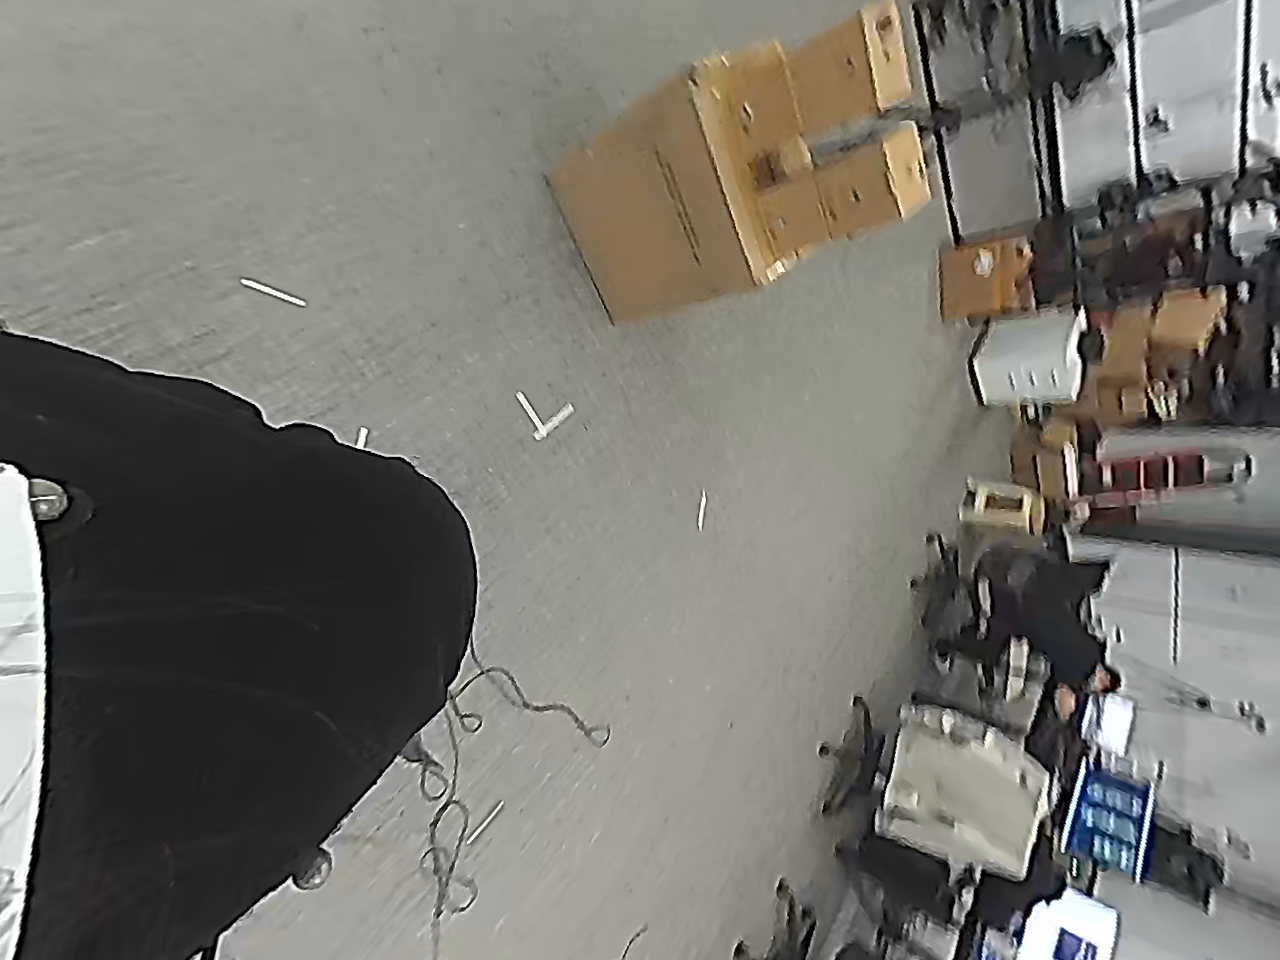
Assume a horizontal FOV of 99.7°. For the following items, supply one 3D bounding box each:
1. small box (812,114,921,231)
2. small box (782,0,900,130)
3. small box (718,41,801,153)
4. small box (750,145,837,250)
[{"bbox_3d":[0.521,-0.708,1.262,0.179,0.176,0.168,-42,117,-30],"label":"small box"},{"bbox_3d":[0.432,-0.902,1.171,0.168,0.176,0.179,-43,121,-29],"label":"small box"},{"bbox_3d":[0.318,-0.917,1.288,0.179,0.176,0.168,-43,119,-28],"label":"small box"},{"bbox_3d":[0.411,-0.718,1.383,0.179,0.176,0.168,-43,118,-29],"label":"small box"}]
